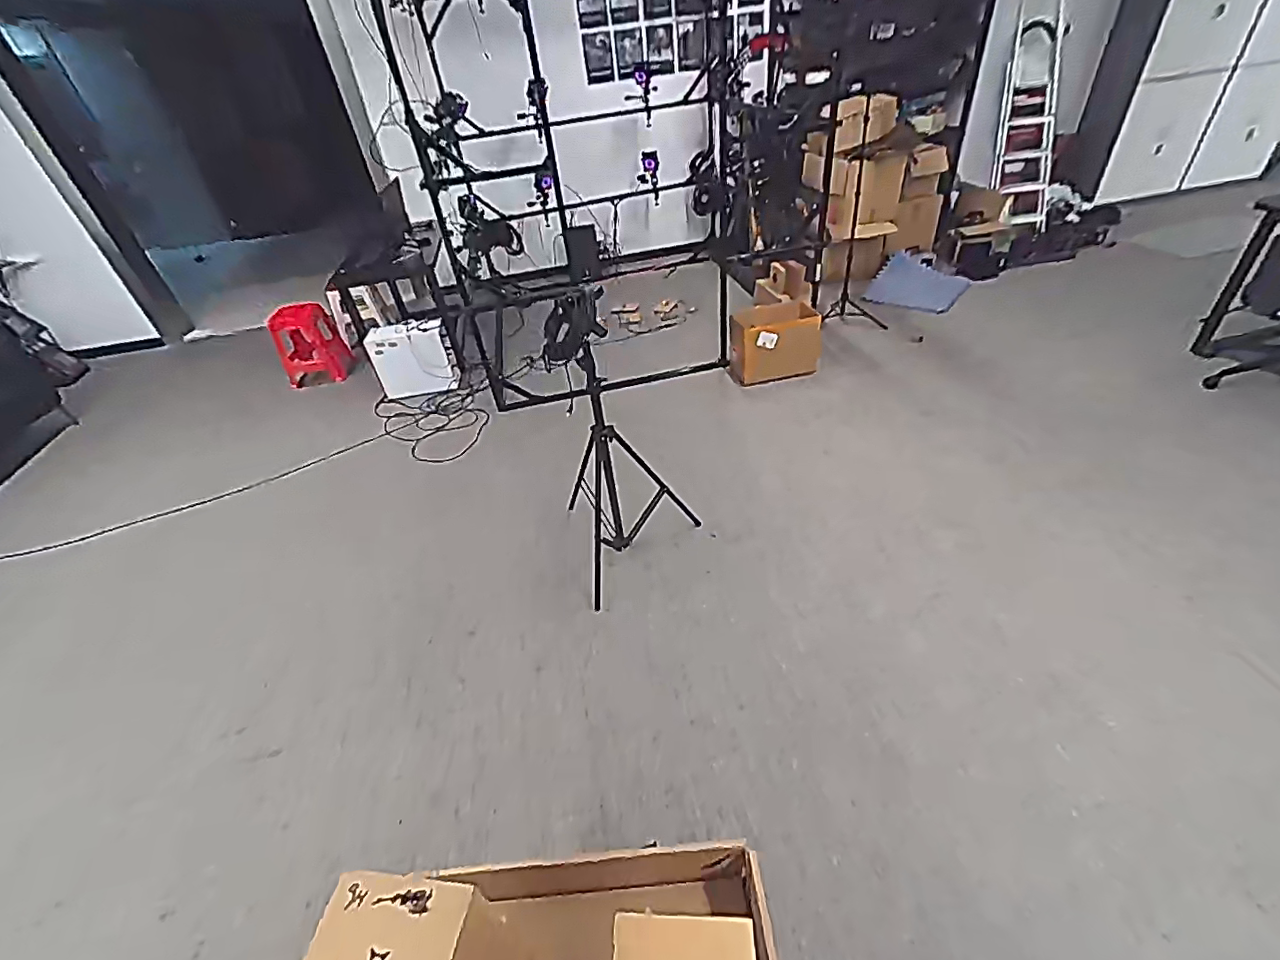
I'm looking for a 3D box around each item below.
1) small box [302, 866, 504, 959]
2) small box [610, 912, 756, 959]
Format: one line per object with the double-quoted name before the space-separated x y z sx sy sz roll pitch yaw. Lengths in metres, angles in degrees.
"small box" -0.270 0.575 0.610 0.168 0.176 0.179 1 39 10
"small box" 0.054 0.658 0.661 0.179 0.176 0.168 -2 37 5
